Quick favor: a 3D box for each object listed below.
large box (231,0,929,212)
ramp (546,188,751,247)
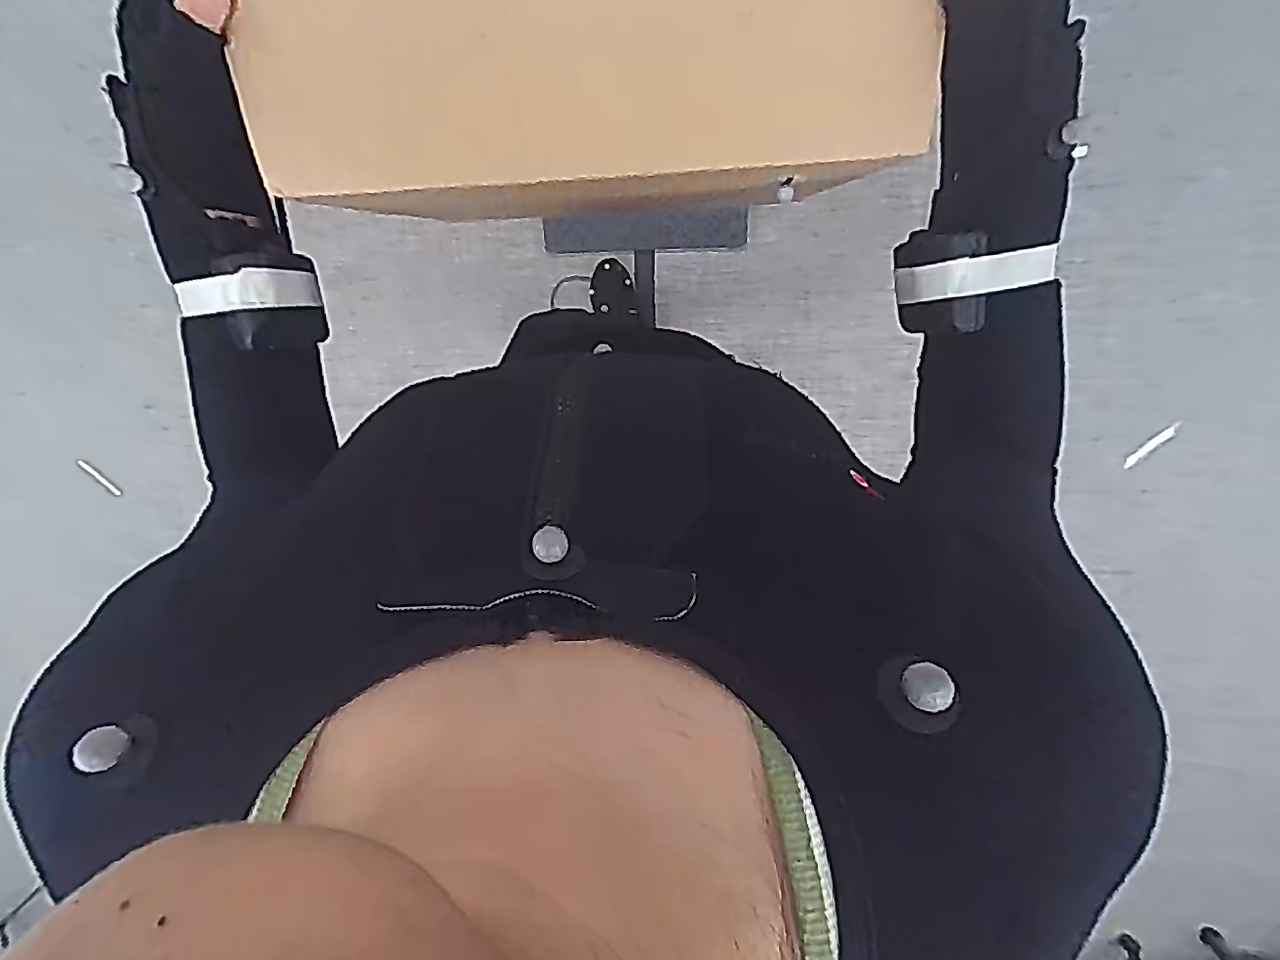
[{"bbox_3d":[-0.034,-0.396,0.417,0.408,0.320,0.320,-2,113,3],"label":"large box"},{"bbox_3d":[0.003,-1.020,1.092,0.509,0.206,0.991,-3,108,3],"label":"ramp"}]
